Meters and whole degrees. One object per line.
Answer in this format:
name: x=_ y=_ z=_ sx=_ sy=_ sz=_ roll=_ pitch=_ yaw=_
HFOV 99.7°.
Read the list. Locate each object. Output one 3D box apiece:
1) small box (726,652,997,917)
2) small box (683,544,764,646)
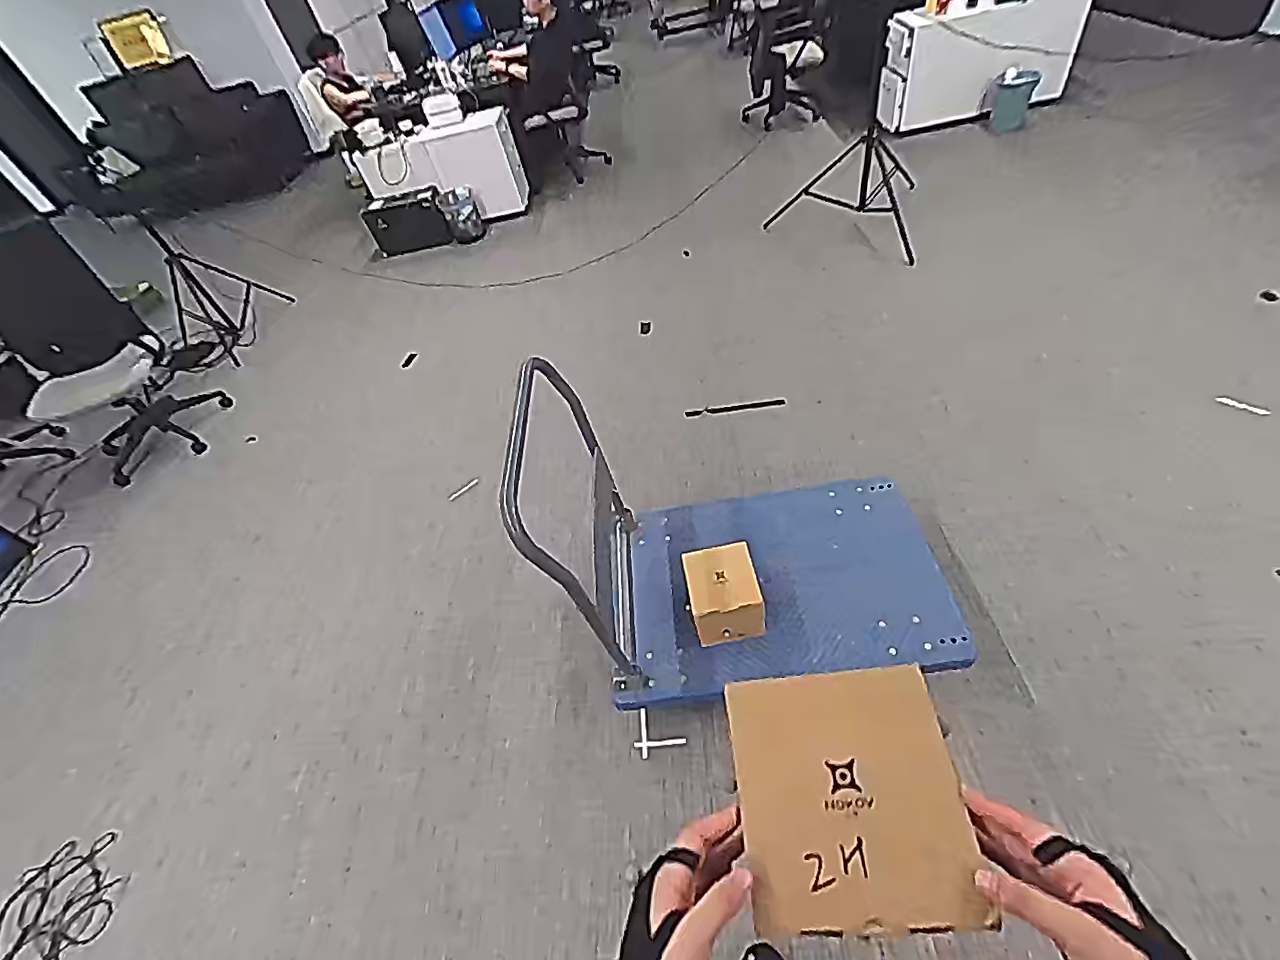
small box: x=0.174 y=0.271 z=0.484 sx=0.168 sy=0.176 sz=0.179 roll=-10 pitch=56 yaw=10
small box: x=0.207 y=0.290 z=1.355 sx=0.168 sy=0.176 sz=0.179 roll=-12 pitch=47 yaw=3
